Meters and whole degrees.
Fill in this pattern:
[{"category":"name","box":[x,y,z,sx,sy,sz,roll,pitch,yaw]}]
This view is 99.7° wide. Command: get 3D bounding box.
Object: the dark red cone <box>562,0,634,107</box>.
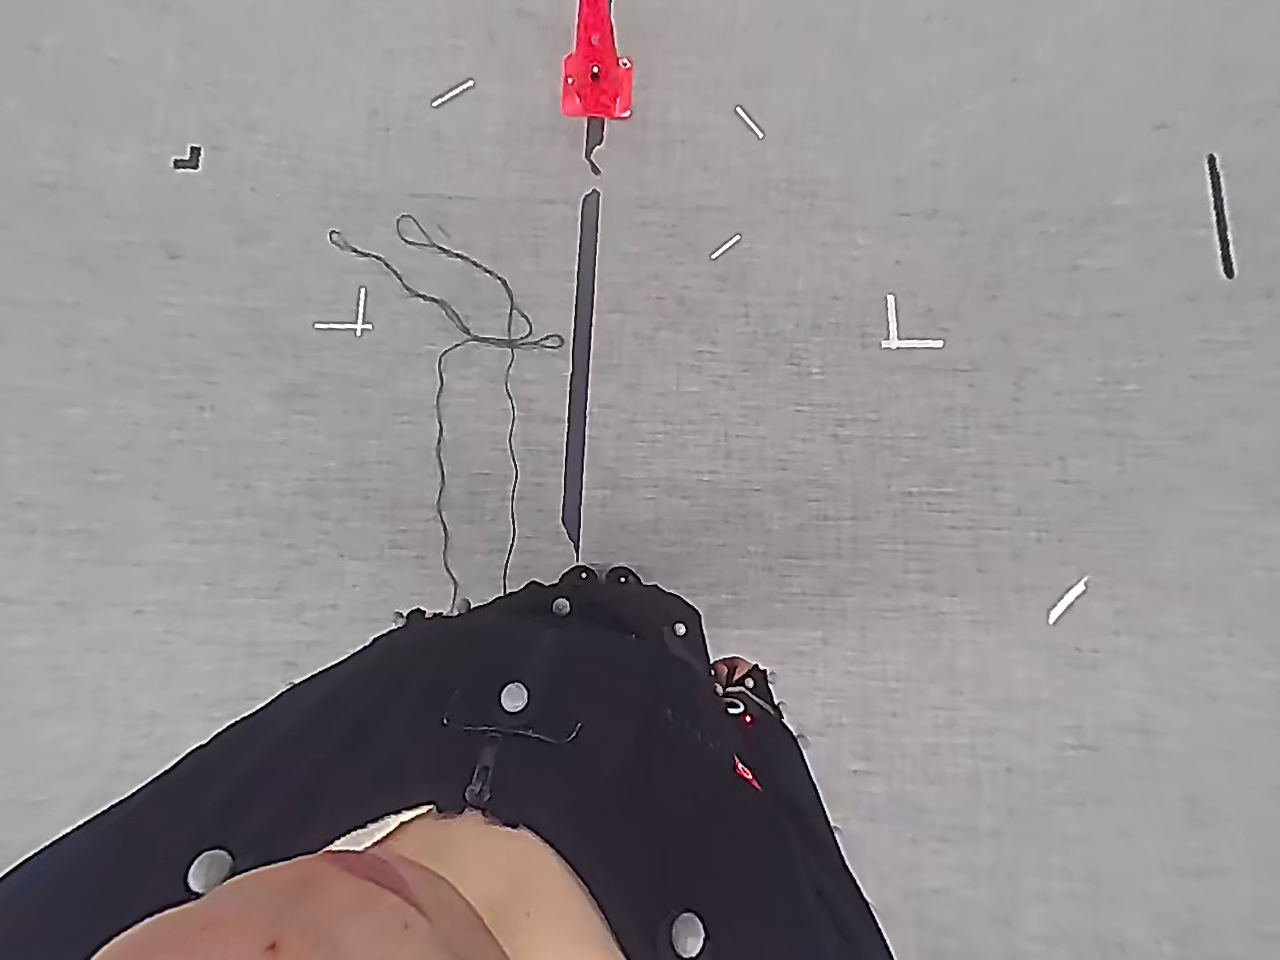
[{"category":"dark red cone","box":[-0.116,-1.173,1.366,0.201,0.394,0.202,2,83,-1]}]
